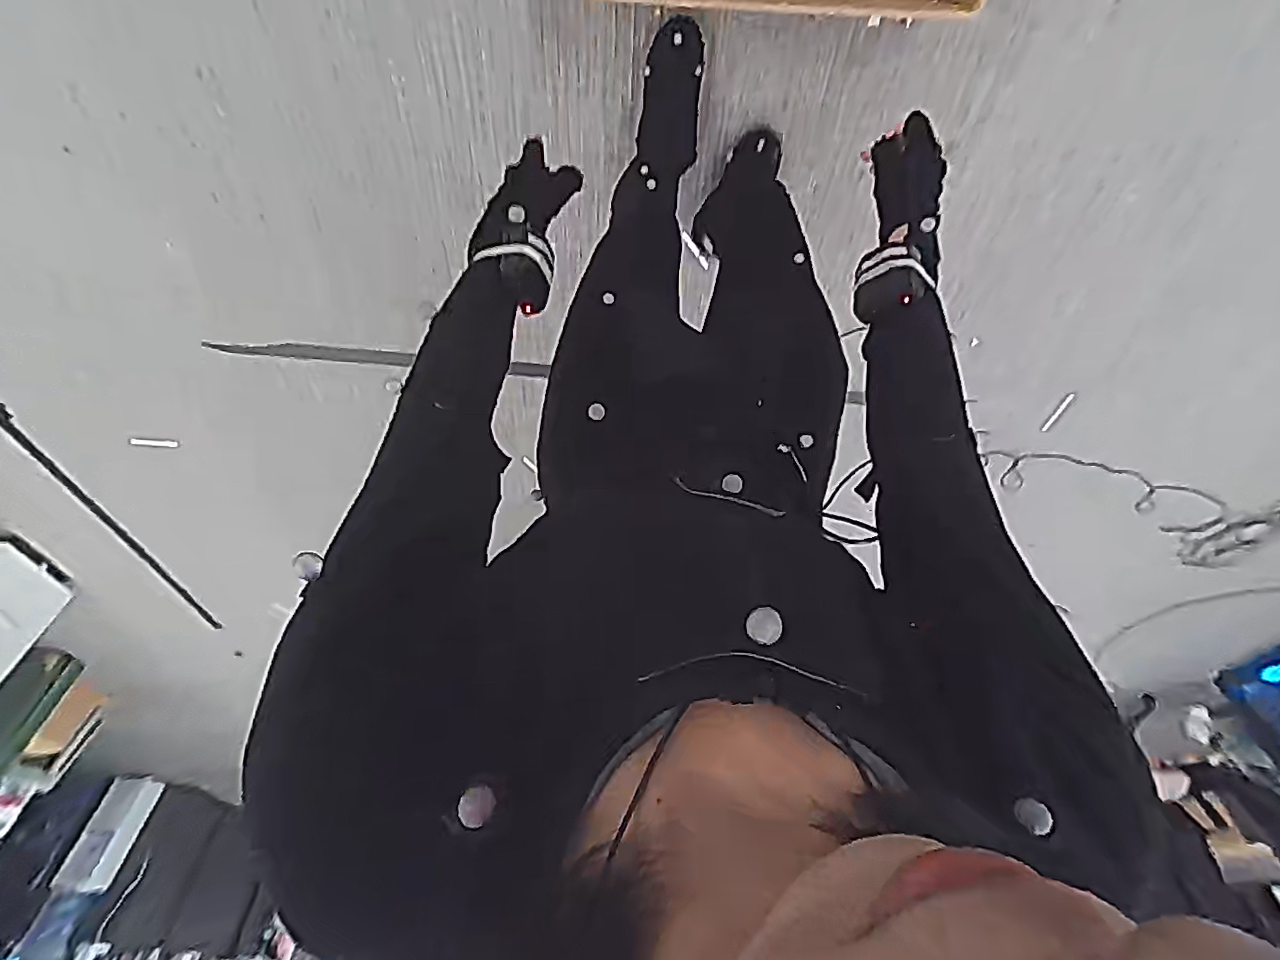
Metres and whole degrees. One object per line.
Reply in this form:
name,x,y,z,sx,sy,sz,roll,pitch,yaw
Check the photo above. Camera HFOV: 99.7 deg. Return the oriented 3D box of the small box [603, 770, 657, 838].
small box,-0.032,1.096,1.829,0.179,0.176,0.168,0,136,1
